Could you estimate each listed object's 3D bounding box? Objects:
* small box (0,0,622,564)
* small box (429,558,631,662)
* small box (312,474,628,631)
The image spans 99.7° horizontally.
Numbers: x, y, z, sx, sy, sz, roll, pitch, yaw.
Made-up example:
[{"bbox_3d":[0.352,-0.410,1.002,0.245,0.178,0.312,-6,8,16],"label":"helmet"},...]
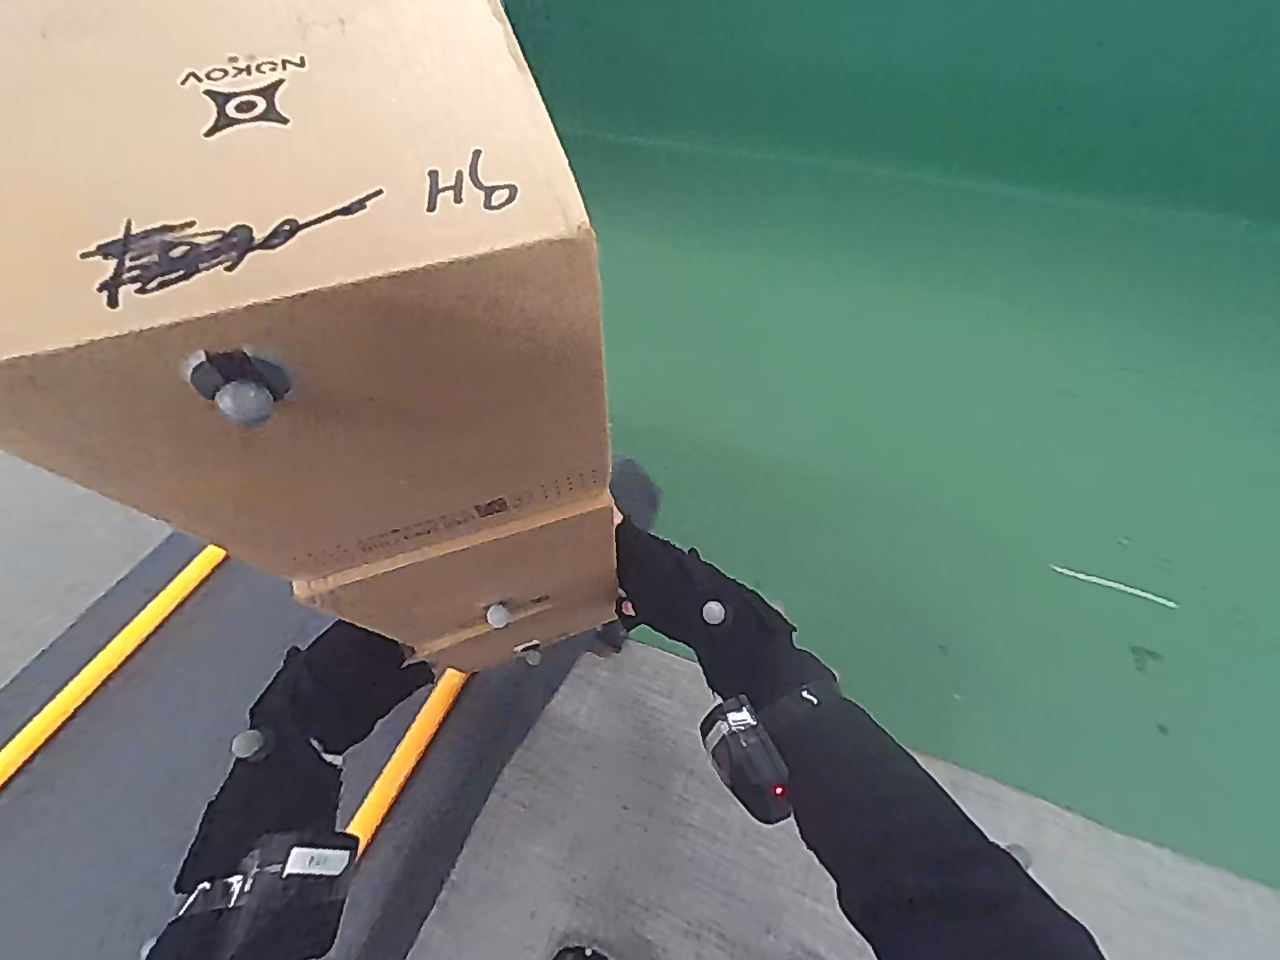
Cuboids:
[{"bbox_3d":[-0.109,-0.084,0.242,0.168,0.176,0.179,-16,66,-7],"label":"small box"},{"bbox_3d":[-0.116,0.063,0.536,0.168,0.176,0.179,-19,69,-9],"label":"small box"},{"bbox_3d":[-0.111,-0.009,0.387,0.168,0.176,0.179,-15,68,-8],"label":"small box"}]
